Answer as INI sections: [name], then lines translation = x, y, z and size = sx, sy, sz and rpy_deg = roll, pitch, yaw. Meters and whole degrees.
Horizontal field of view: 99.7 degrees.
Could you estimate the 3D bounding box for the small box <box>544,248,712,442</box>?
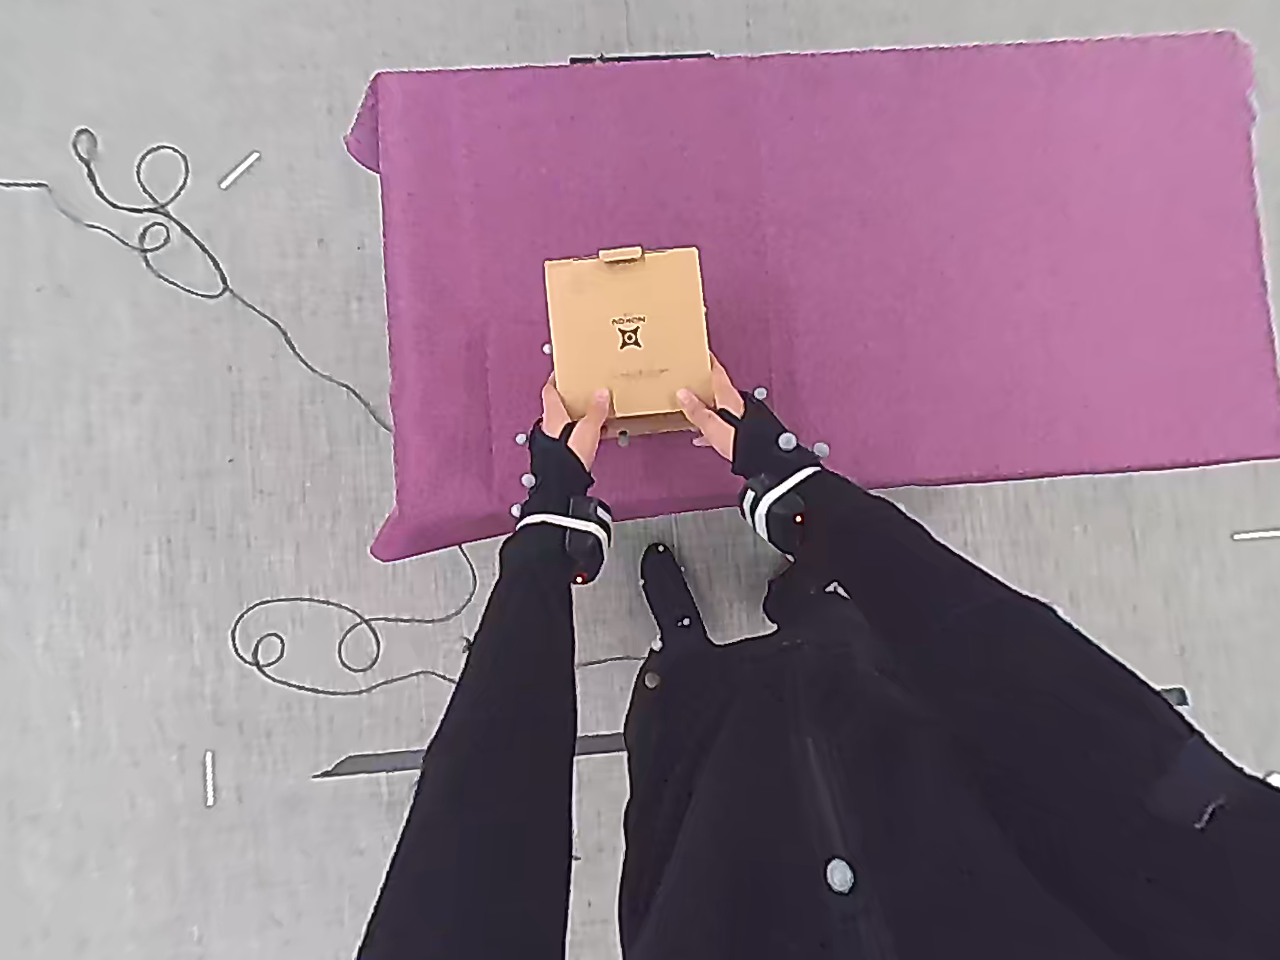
[small box]
translation = -0.015, -0.147, 0.639
size = 0.168, 0.176, 0.179
rpy_deg = -6, 88, -1
